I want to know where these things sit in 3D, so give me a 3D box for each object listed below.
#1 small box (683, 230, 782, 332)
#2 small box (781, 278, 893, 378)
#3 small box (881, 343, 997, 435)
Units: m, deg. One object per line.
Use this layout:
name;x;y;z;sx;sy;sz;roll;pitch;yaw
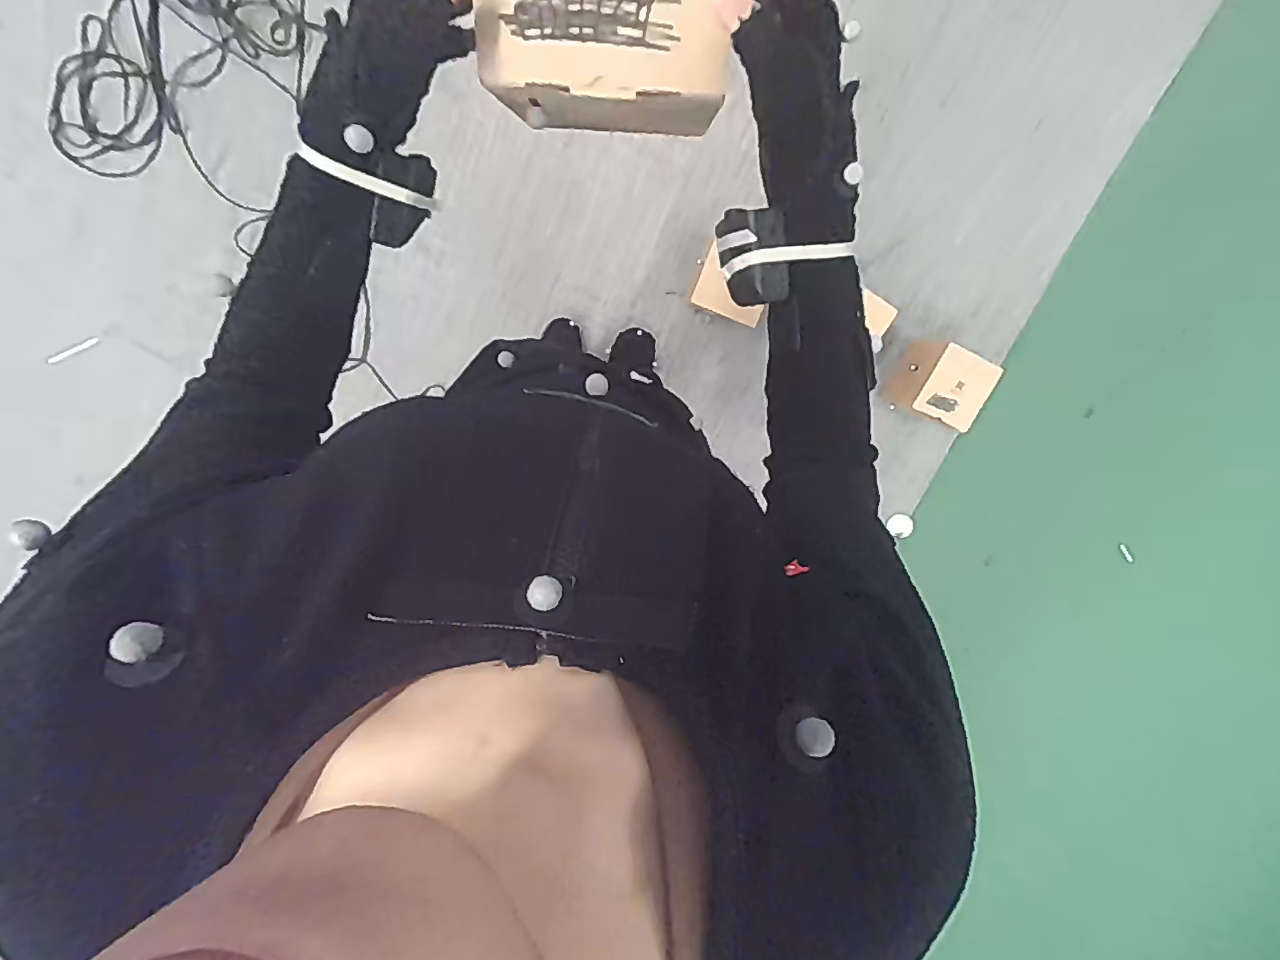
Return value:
small box;0.212;-0.471;1.298;0.168;0.176;0.179;20;106;-7
small box;0.477;-0.376;1.344;0.168;0.176;0.179;28;103;-11
small box;0.761;-0.241;1.401;0.168;0.176;0.179;23;103;-10
